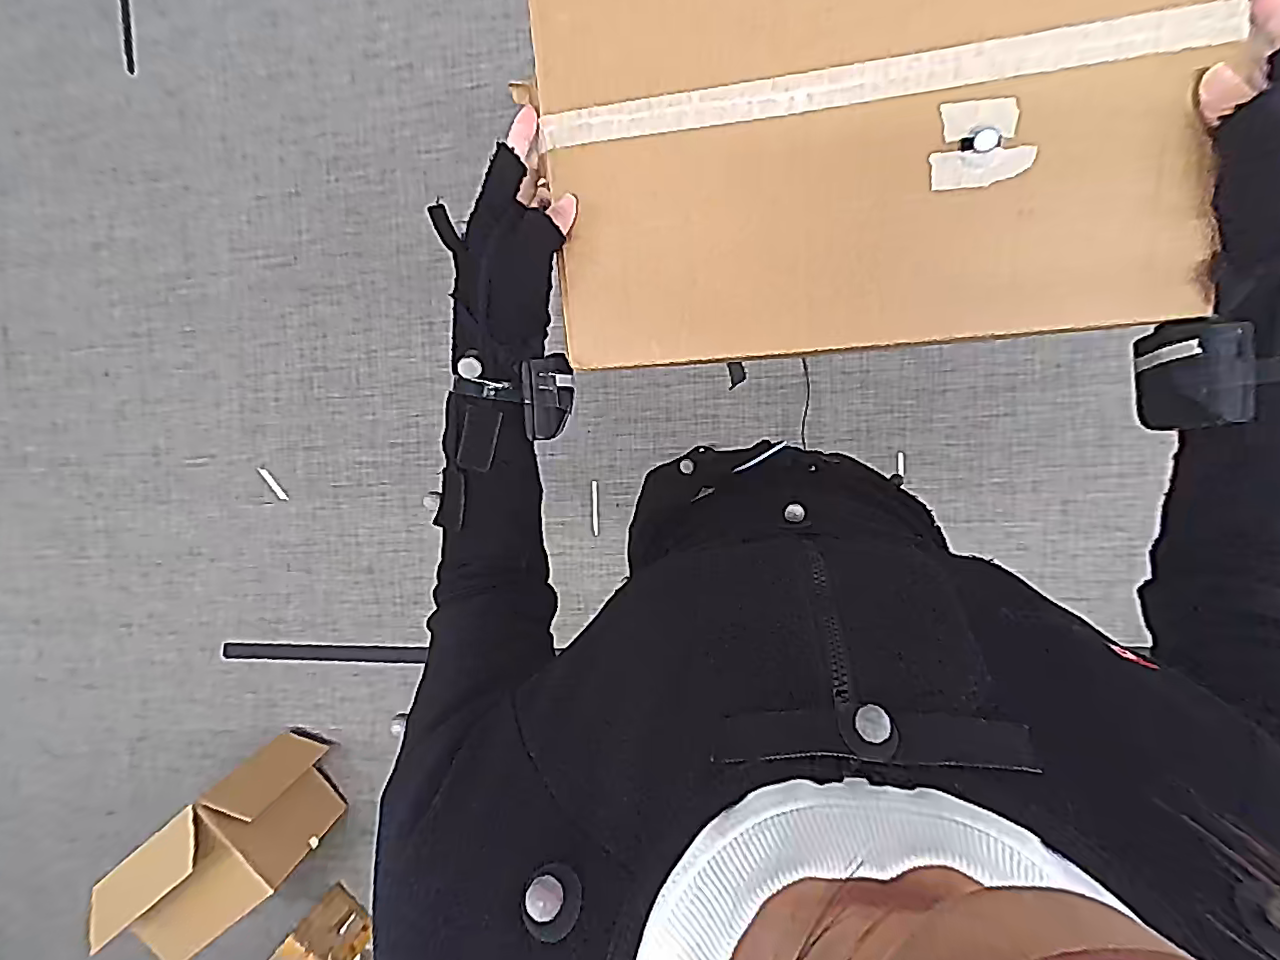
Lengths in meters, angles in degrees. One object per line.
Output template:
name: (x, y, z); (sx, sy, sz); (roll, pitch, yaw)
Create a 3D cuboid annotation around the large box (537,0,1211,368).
large box: (0.153, -0.278, 0.490); (0.408, 0.320, 0.320); (-4, 102, 8)
